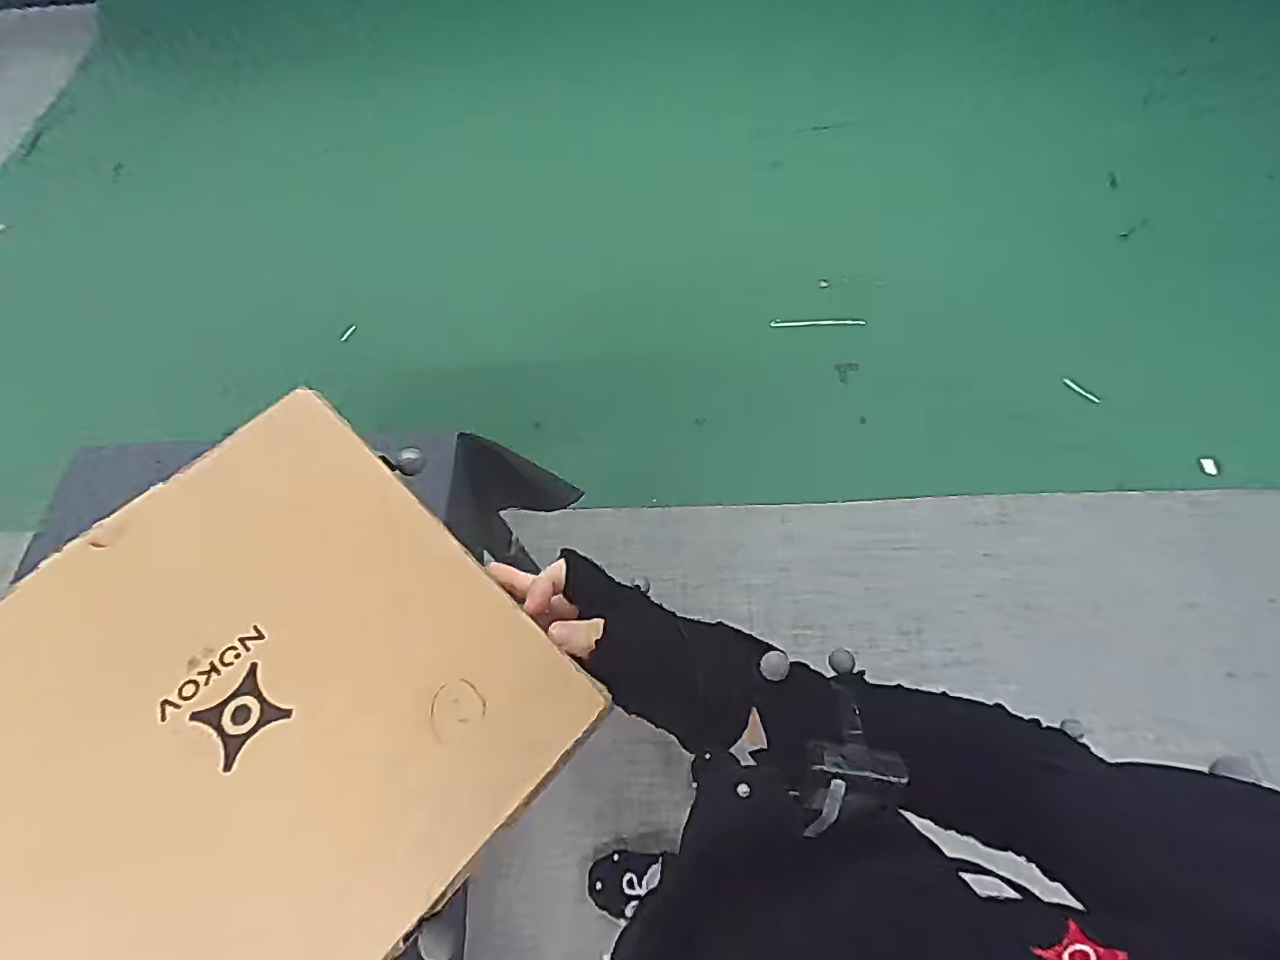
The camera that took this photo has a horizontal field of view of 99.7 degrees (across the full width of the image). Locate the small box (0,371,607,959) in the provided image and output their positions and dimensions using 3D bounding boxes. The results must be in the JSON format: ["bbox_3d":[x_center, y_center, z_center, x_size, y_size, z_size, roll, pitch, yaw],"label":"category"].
[{"bbox_3d":[-0.129,0.092,0.251,0.179,0.176,0.168,41,71,16],"label":"small box"}]
